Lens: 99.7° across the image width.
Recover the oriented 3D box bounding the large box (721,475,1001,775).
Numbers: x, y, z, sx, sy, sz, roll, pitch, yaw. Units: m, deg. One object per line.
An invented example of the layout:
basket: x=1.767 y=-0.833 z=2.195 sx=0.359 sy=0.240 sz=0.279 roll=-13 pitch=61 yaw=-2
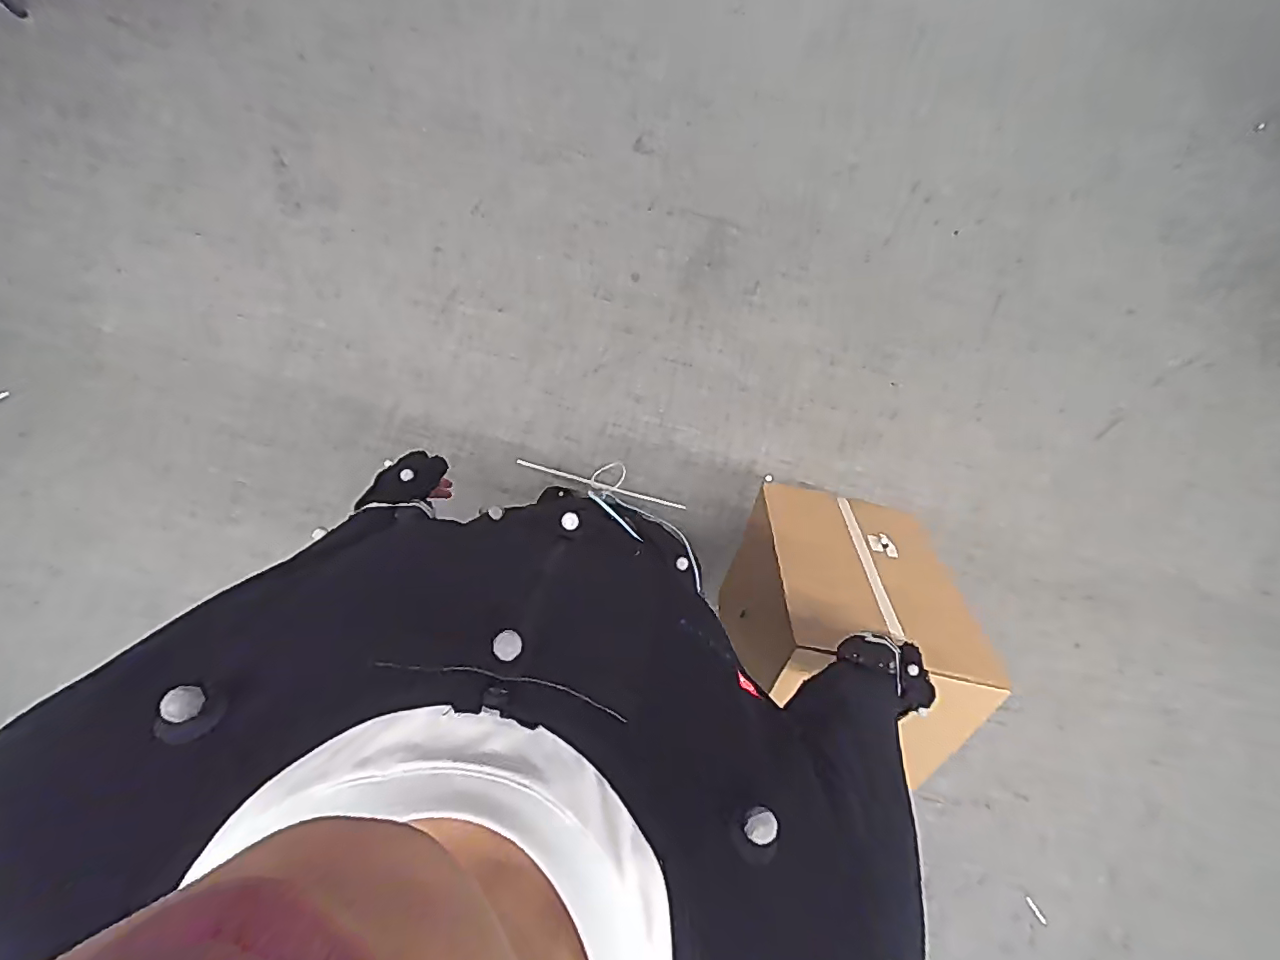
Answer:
large box: x=0.344 y=0.251 z=0.993 sx=0.320 sy=0.408 sz=0.320 roll=13 pitch=124 yaw=-3
